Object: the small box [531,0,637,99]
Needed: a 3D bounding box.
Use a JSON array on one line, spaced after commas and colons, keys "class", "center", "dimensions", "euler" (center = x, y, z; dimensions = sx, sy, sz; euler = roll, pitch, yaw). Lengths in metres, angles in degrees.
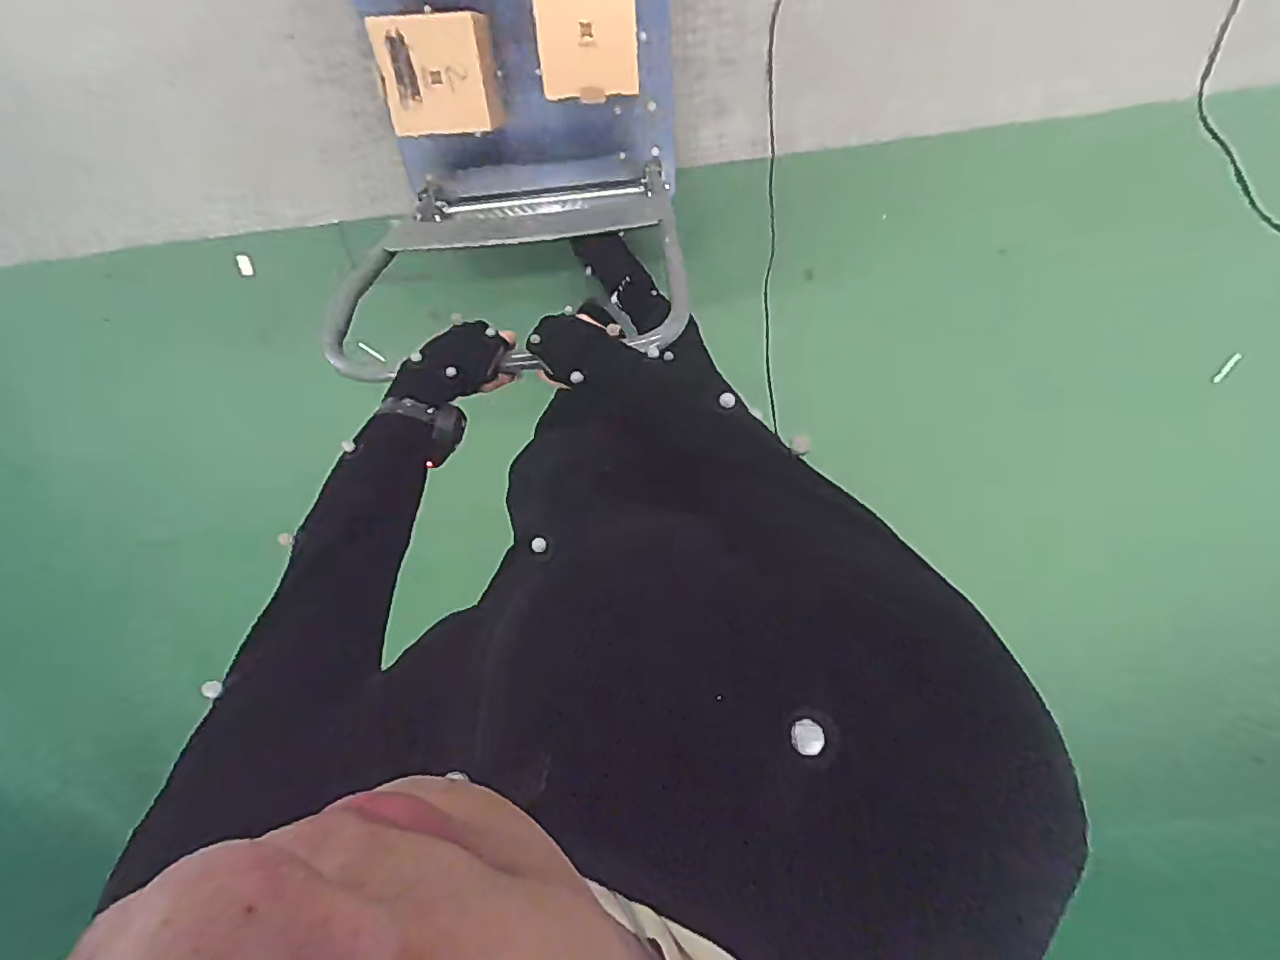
[{"class": "small box", "center": [-0.094, -0.783, 0.947], "dimensions": [0.168, 0.176, 0.179], "euler": [-3, 129, 1]}]
